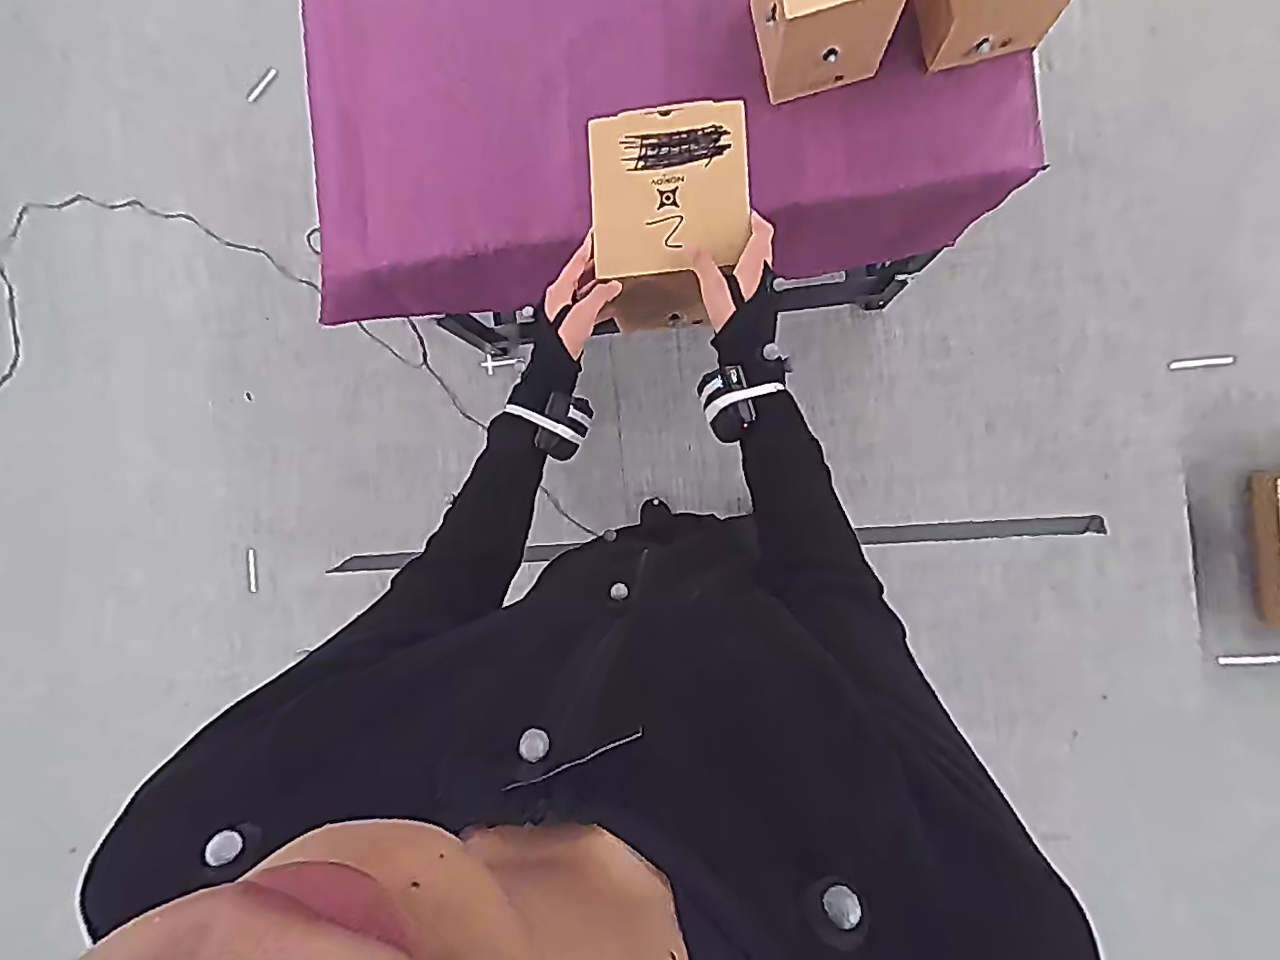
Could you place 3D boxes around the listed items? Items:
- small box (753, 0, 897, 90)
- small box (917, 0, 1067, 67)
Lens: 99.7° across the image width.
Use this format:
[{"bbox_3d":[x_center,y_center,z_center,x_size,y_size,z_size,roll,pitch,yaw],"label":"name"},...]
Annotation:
[{"bbox_3d":[0.264,-0.710,0.783,0.168,0.176,0.179,-11,88,7],"label":"small box"},{"bbox_3d":[0.500,-0.737,0.754,0.168,0.176,0.179,-9,89,9],"label":"small box"}]
